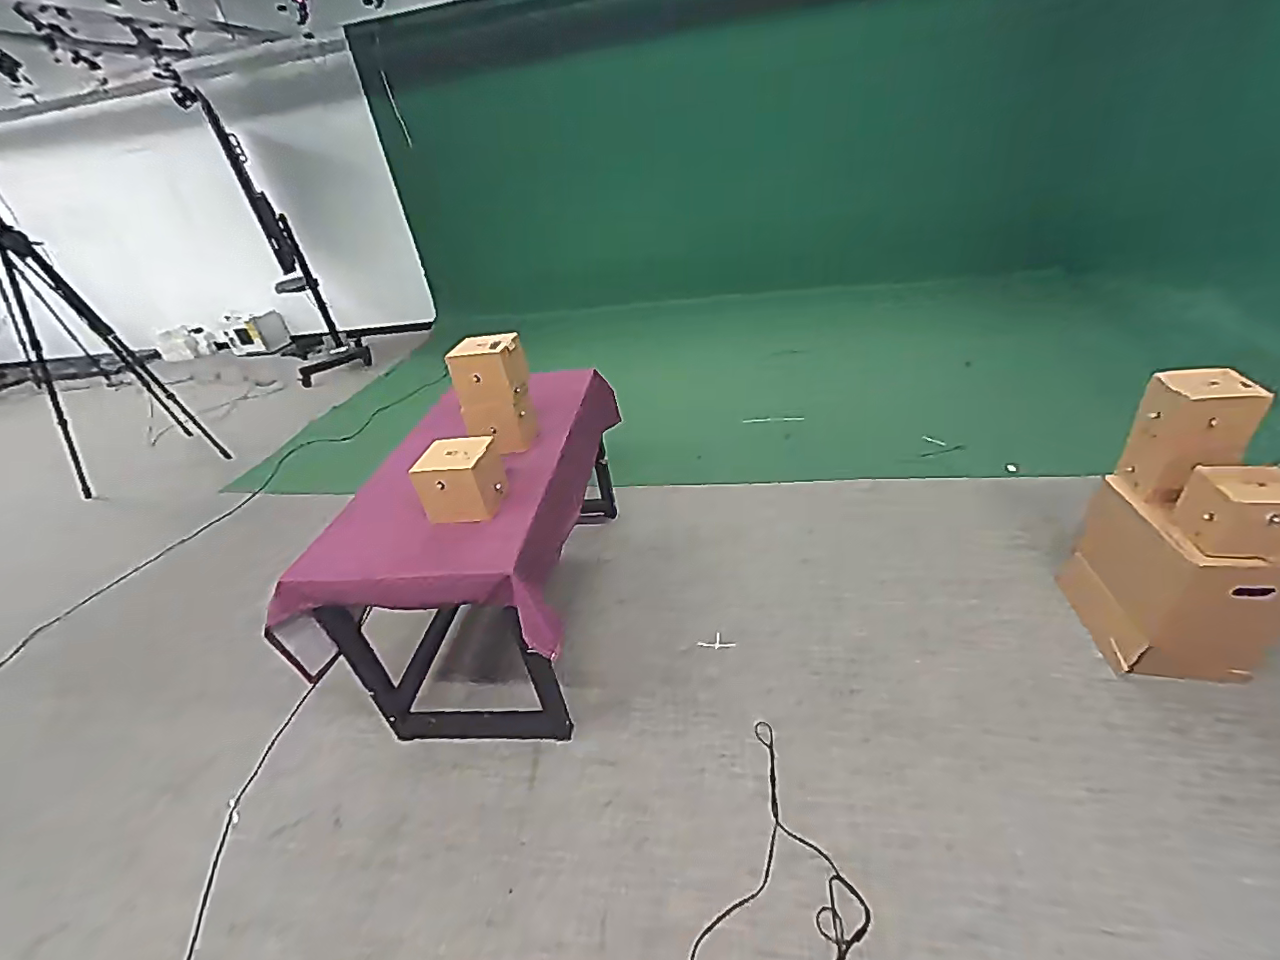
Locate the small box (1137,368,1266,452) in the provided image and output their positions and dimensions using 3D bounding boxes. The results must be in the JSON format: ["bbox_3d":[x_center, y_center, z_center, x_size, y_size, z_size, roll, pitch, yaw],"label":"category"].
[{"bbox_3d":[1.500,-0.187,1.464,0.179,0.176,0.168,-3,34,14],"label":"small box"}]

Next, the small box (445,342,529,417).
[{"bbox_3d":[-0.462,-0.310,1.669,0.179,0.176,0.168,-4,33,12],"label":"small box"}]

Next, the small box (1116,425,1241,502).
[{"bbox_3d":[1.531,-0.051,1.551,0.179,0.176,0.168,-4,34,13],"label":"small box"}]

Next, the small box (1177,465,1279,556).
[{"bbox_3d":[1.508,0.076,1.353,0.179,0.176,0.168,0,33,14],"label":"small box"}]

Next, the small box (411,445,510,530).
[{"bbox_3d":[-0.476,0.023,1.460,0.179,0.176,0.168,-3,33,10],"label":"small box"}]
